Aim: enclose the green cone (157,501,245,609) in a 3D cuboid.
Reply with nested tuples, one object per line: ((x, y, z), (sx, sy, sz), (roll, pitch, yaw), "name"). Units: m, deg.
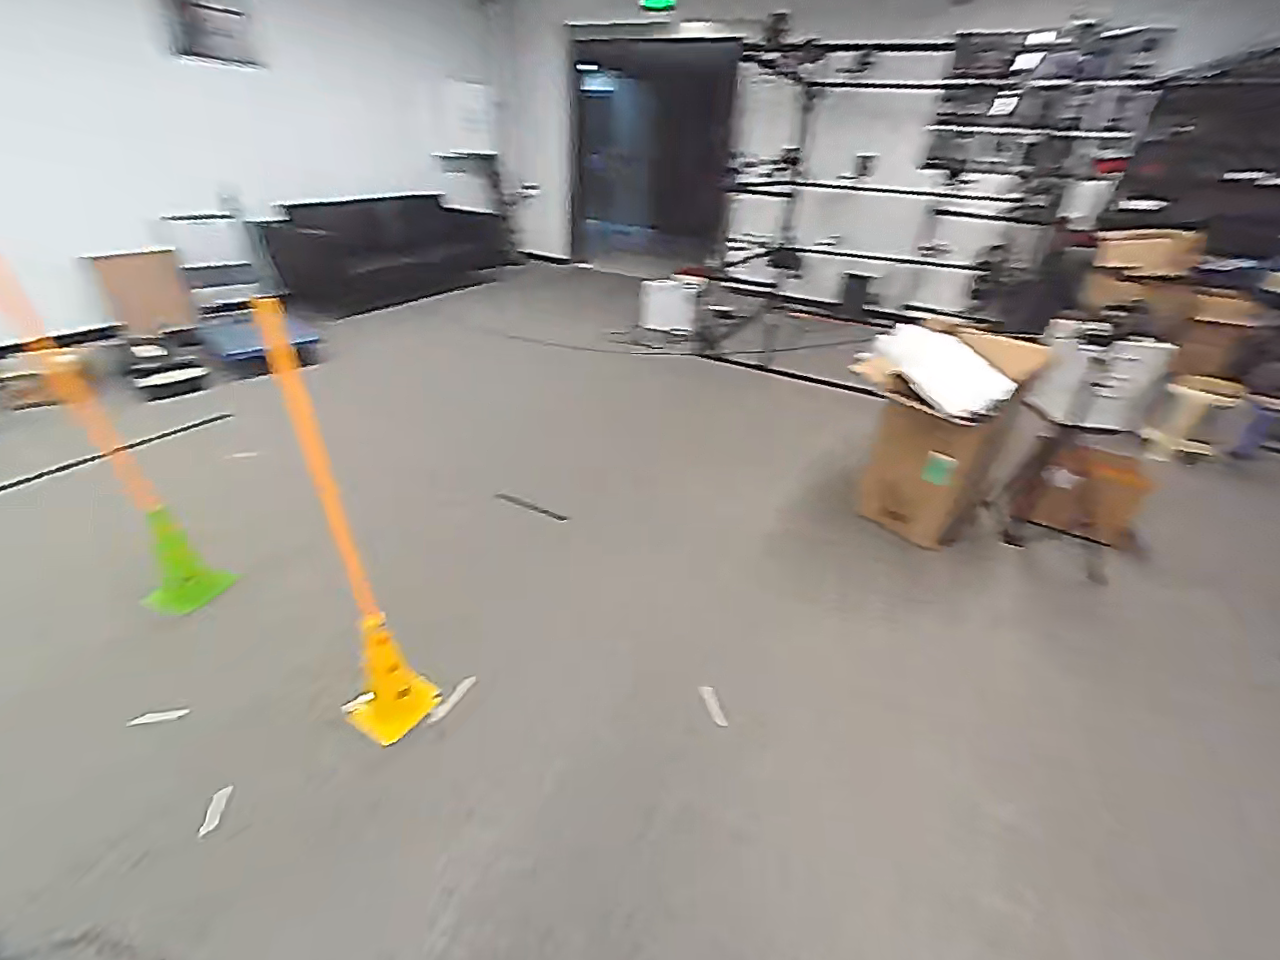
((-1.564, 0.231, 1.858), (0.202, 0.368, 0.200), (15, 33, 13), "green cone")
